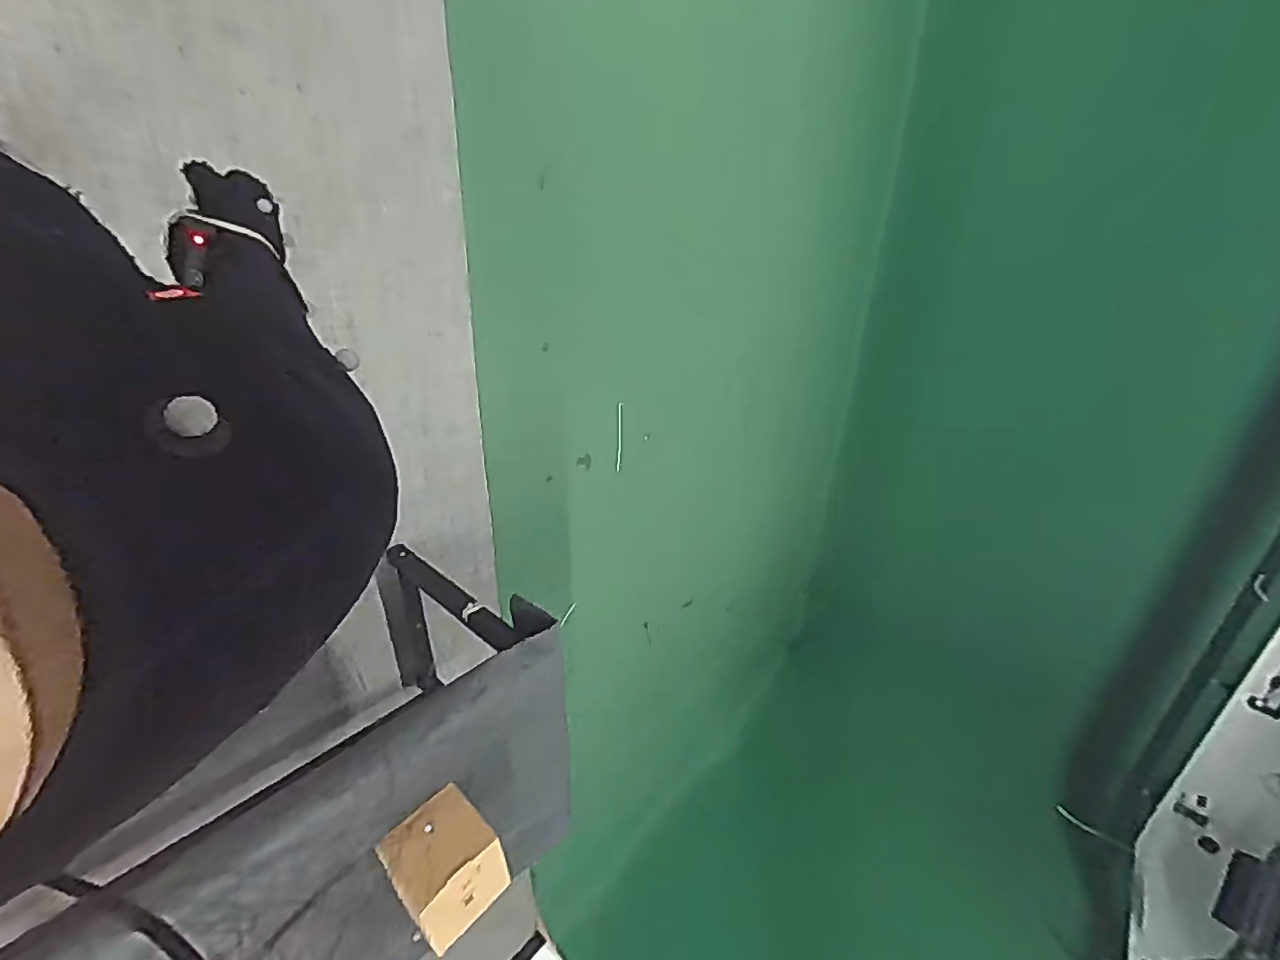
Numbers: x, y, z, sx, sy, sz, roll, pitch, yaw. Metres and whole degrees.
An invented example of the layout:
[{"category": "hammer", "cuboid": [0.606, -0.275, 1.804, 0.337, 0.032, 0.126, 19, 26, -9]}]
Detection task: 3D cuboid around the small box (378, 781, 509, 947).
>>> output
[{"category": "small box", "cuboid": [-0.384, 0.743, 1.065, 0.168, 0.176, 0.179, -30, 130, -41]}]
